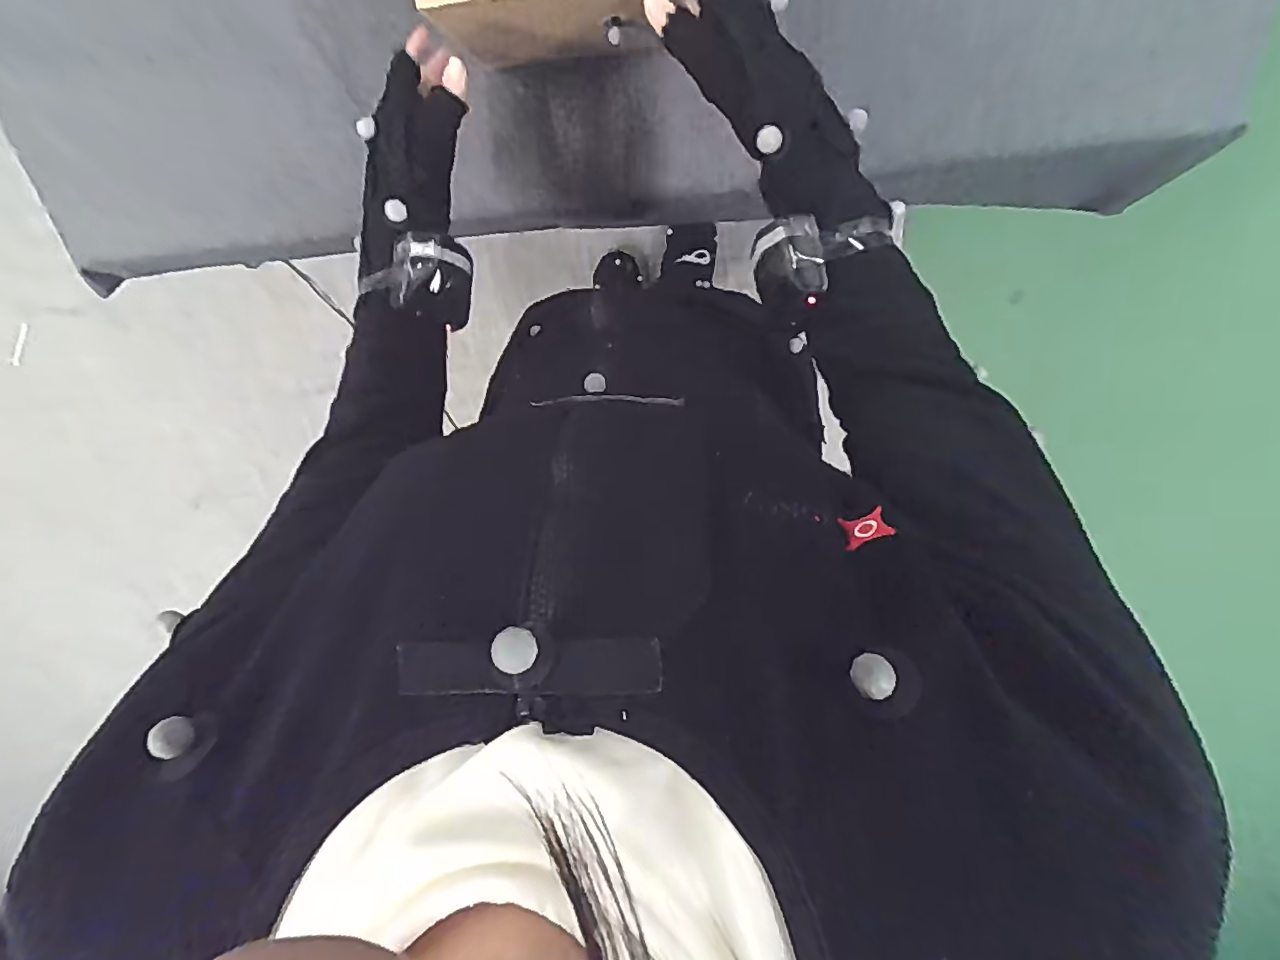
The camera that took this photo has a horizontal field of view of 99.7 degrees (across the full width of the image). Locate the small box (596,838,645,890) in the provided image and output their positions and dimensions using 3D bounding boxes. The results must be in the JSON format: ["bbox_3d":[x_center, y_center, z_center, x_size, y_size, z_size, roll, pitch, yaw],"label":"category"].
[{"bbox_3d":[-0.077,1.619,2.244,0.179,0.176,0.168,-4,116,6],"label":"small box"}]

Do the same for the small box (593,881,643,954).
[{"bbox_3d":[-0.081,1.693,2.098,0.179,0.176,0.168,-1,116,3],"label":"small box"}]

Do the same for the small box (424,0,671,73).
[{"bbox_3d":[-0.068,-0.437,0.408,0.179,0.176,0.168,-5,114,6],"label":"small box"}]
